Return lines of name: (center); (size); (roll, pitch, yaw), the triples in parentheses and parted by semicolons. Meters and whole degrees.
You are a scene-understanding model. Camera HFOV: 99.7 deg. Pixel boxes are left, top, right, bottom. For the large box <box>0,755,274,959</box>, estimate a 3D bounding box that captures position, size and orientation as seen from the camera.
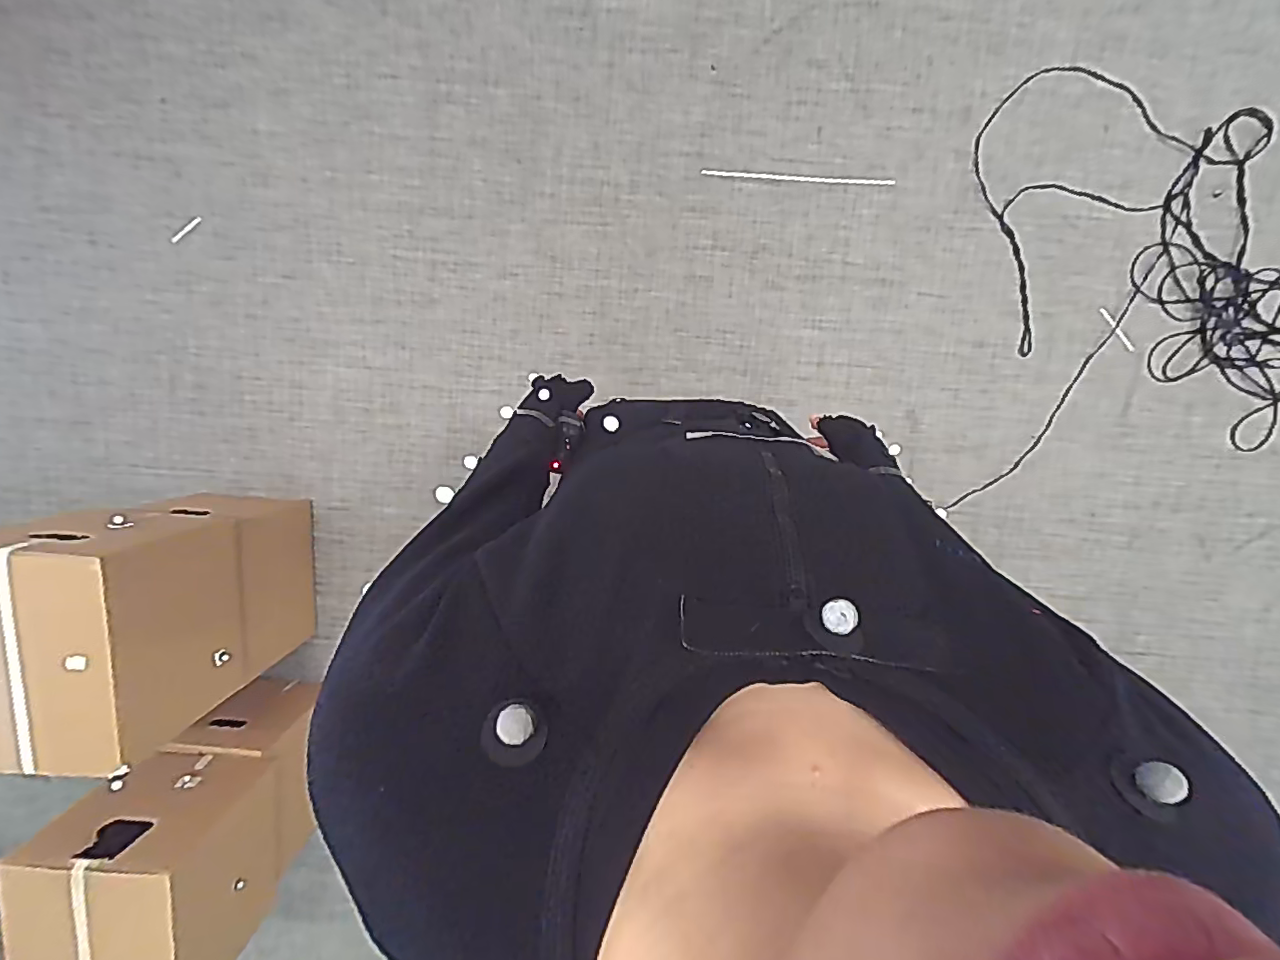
large box: (-1.032, 0.864, 1.151); (0.320, 0.320, 0.408); (6, 100, -2)
